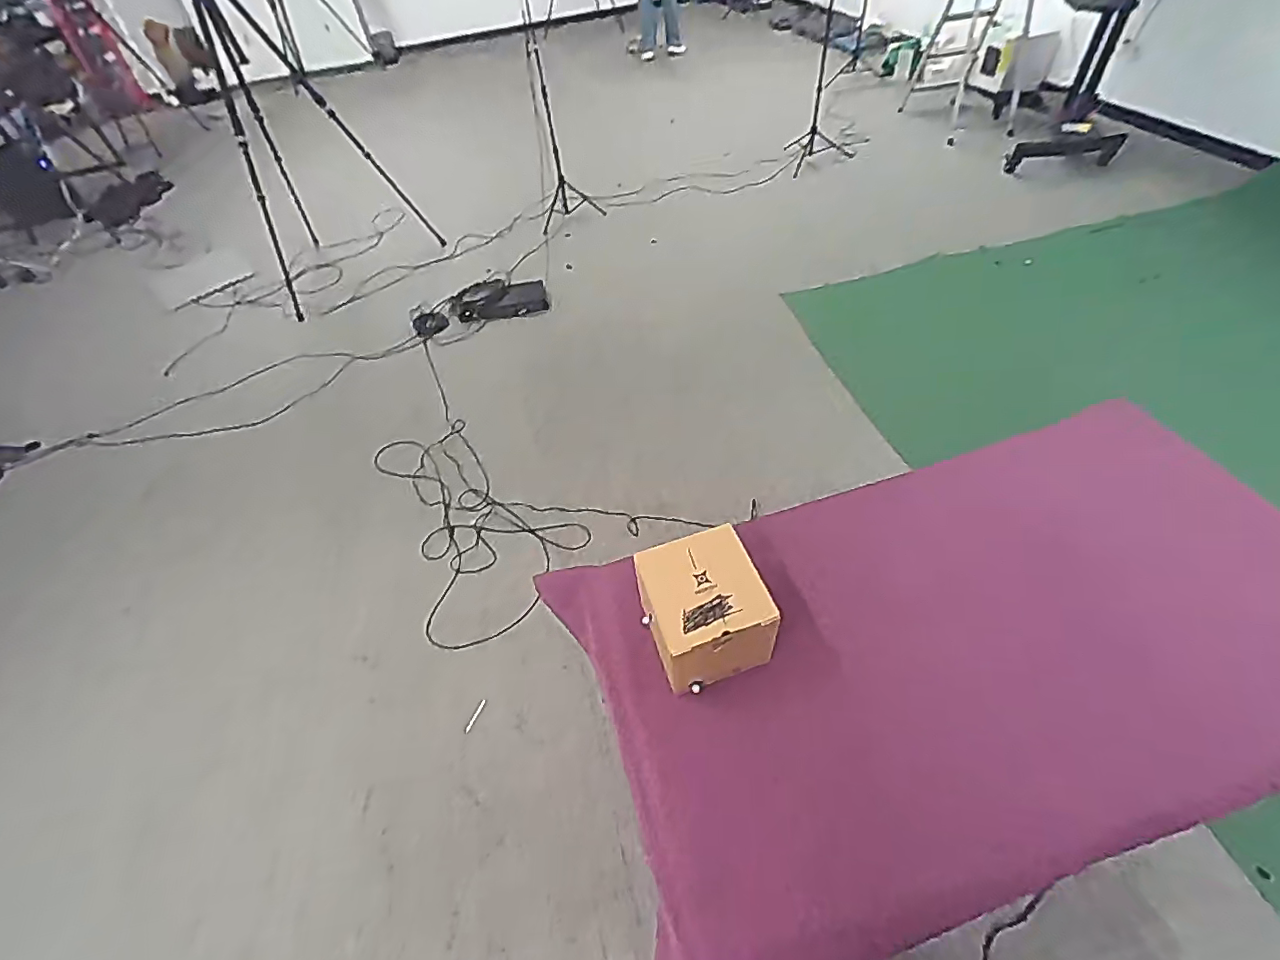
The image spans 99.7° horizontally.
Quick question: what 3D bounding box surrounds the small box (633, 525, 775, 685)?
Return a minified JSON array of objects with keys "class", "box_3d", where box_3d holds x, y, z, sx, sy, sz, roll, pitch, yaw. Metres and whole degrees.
[{"class":"small box","box_3d":[0.097,0.205,0.859,0.168,0.176,0.179,-16,50,-8]}]
